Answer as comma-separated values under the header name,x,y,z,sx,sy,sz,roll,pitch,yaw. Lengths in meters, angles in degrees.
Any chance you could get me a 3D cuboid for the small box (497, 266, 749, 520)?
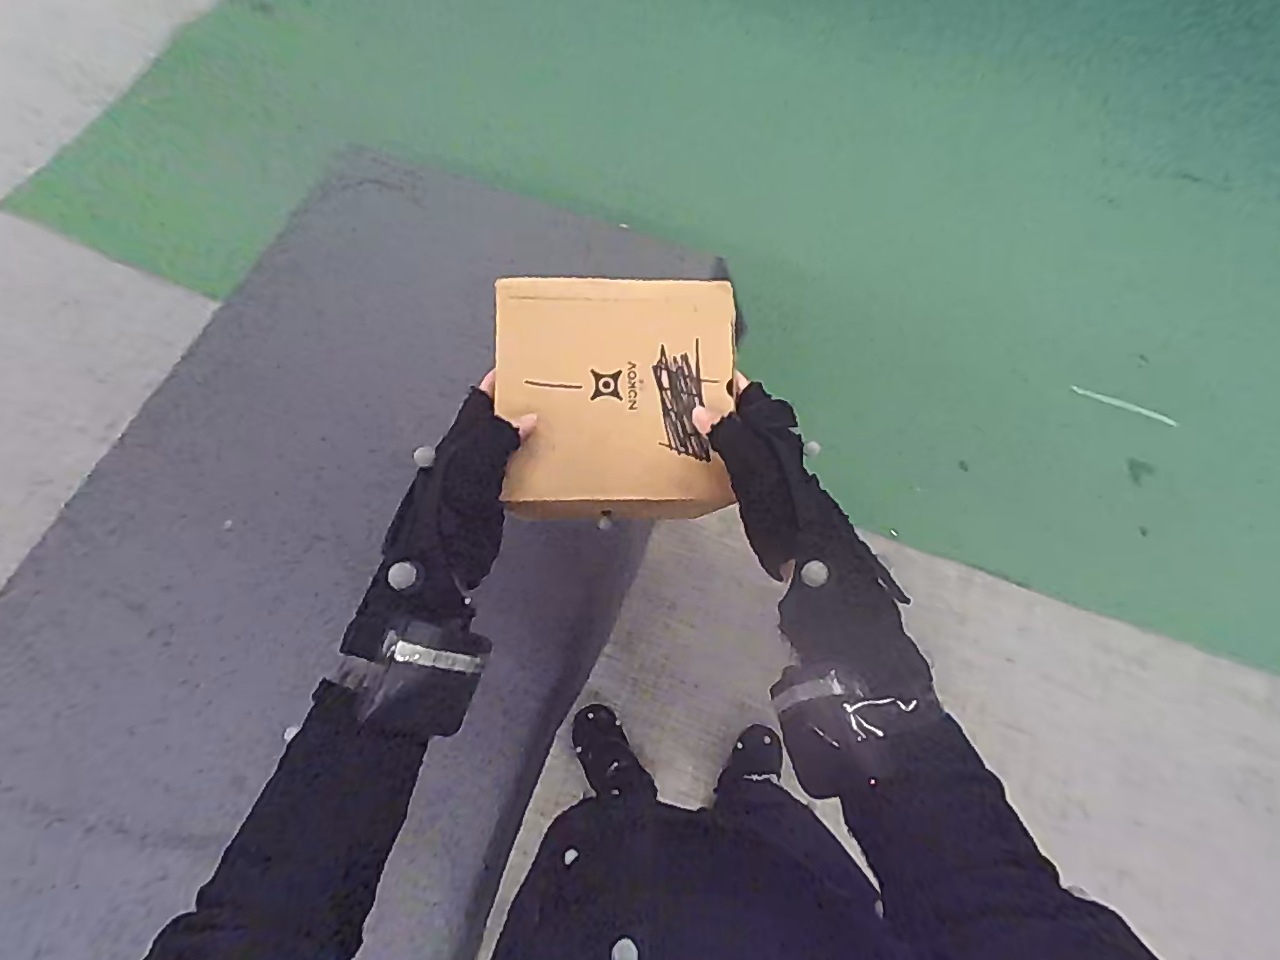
name,x,y,z,sx,sy,sz,roll,pitch,yaw
small box,-0.015,-0.057,0.468,0.179,0.176,0.168,4,80,-4
